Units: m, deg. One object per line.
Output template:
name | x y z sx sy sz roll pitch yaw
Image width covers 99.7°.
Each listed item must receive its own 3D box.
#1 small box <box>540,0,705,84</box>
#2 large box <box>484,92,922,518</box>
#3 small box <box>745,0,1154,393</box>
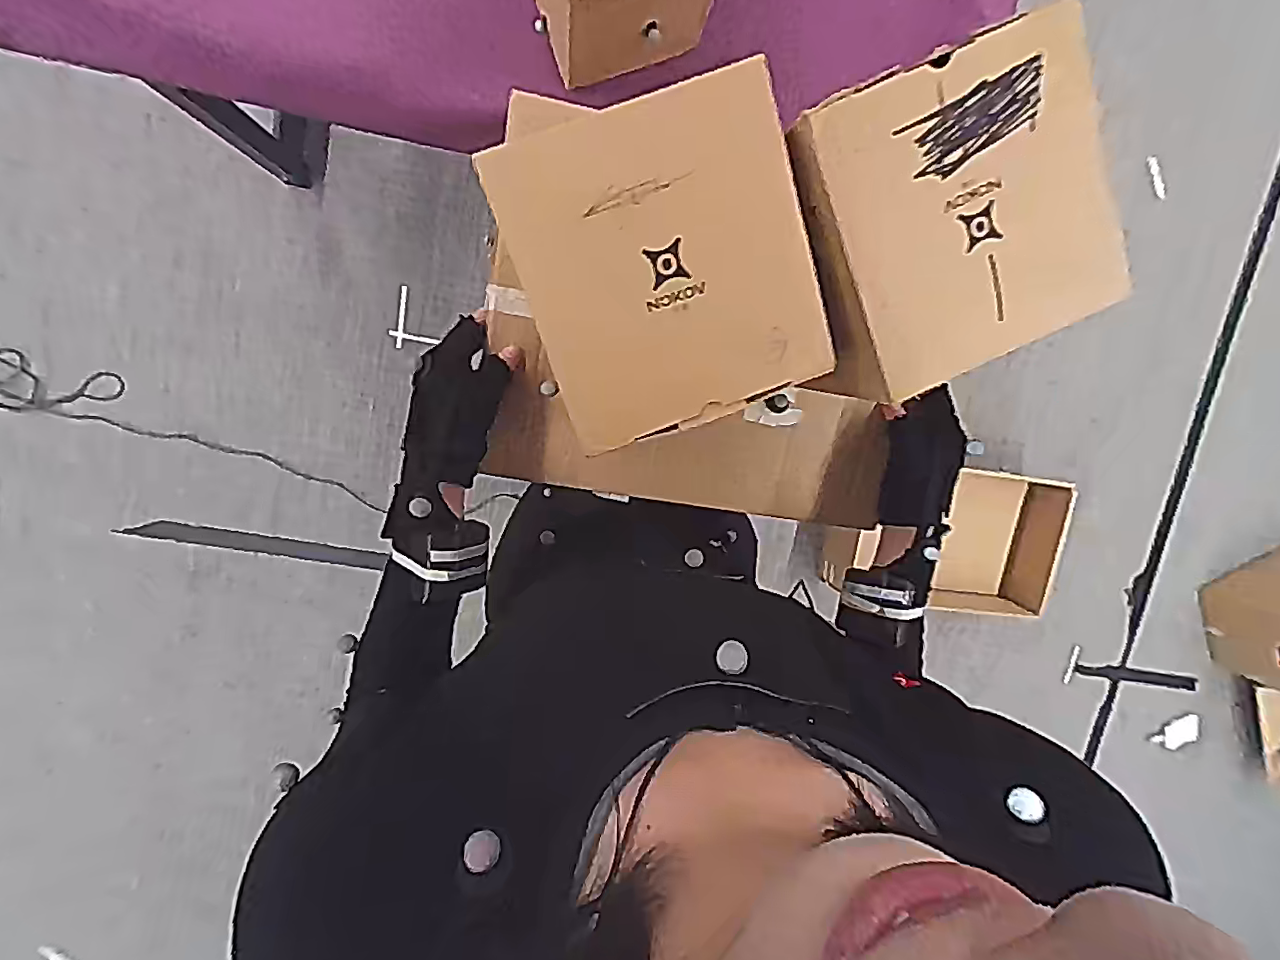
small box | -0.024 -0.572 0.566 0.179 0.176 0.168 -22 101 -3
large box | 0.058 -0.166 0.622 0.408 0.320 0.320 8 103 -9
small box | 0.193 -0.175 0.382 0.168 0.176 0.179 -24 105 0
